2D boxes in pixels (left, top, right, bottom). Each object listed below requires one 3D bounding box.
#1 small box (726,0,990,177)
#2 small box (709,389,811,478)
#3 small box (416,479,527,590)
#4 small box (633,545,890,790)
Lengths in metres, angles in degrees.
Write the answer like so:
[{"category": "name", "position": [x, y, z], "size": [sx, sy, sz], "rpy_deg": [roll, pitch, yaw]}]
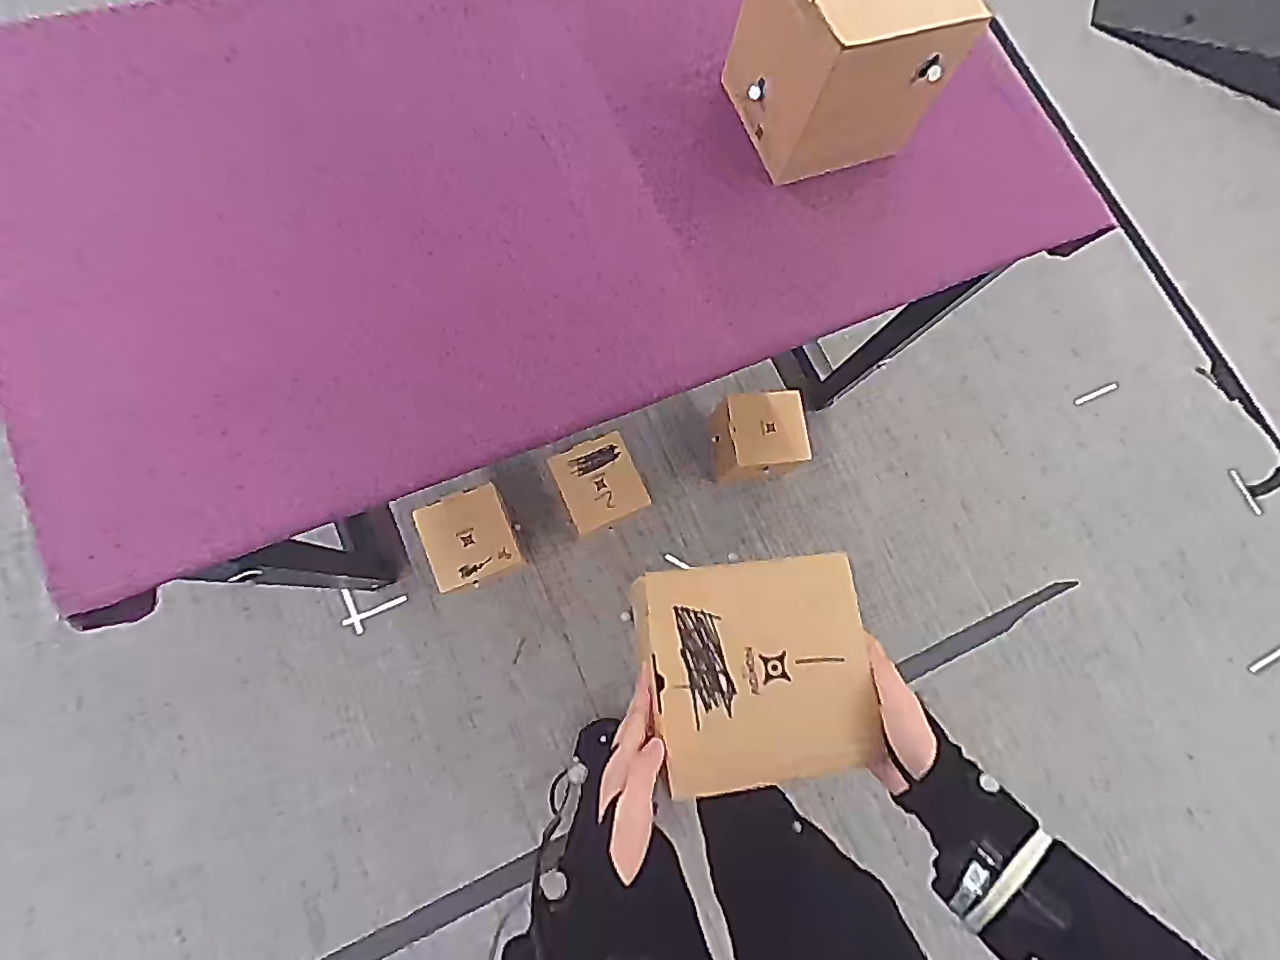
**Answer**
[{"category": "small box", "position": [0.220, -0.474, 0.593], "size": [0.179, 0.176, 0.168], "rpy_deg": [-21, 80, -11]}, {"category": "small box", "position": [0.274, -0.105, 1.271], "size": [0.179, 0.176, 0.168], "rpy_deg": [-6, 79, -8]}, {"category": "small box", "position": [-0.347, 0.122, 1.141], "size": [0.168, 0.176, 0.179], "rpy_deg": [-21, 80, -12]}, {"category": "small box", "position": [0.088, 0.158, 0.493], "size": [0.179, 0.176, 0.168], "rpy_deg": [-6, 77, -6]}]
